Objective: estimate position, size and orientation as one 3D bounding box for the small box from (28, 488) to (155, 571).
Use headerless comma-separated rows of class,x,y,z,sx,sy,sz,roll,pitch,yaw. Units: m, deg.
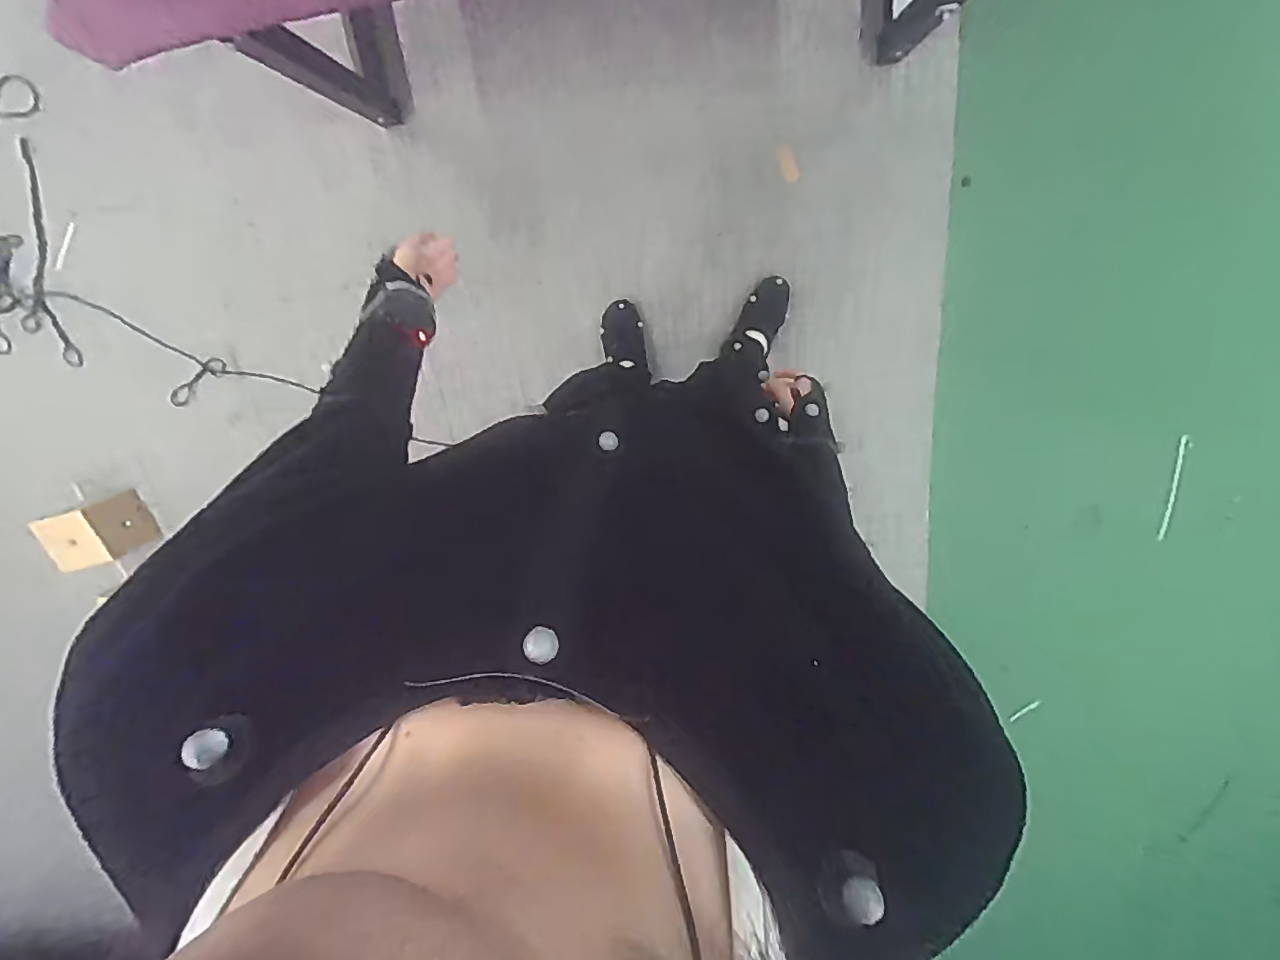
small box,-1.584,0.138,1.581,0.179,0.176,0.168,-13,110,7
